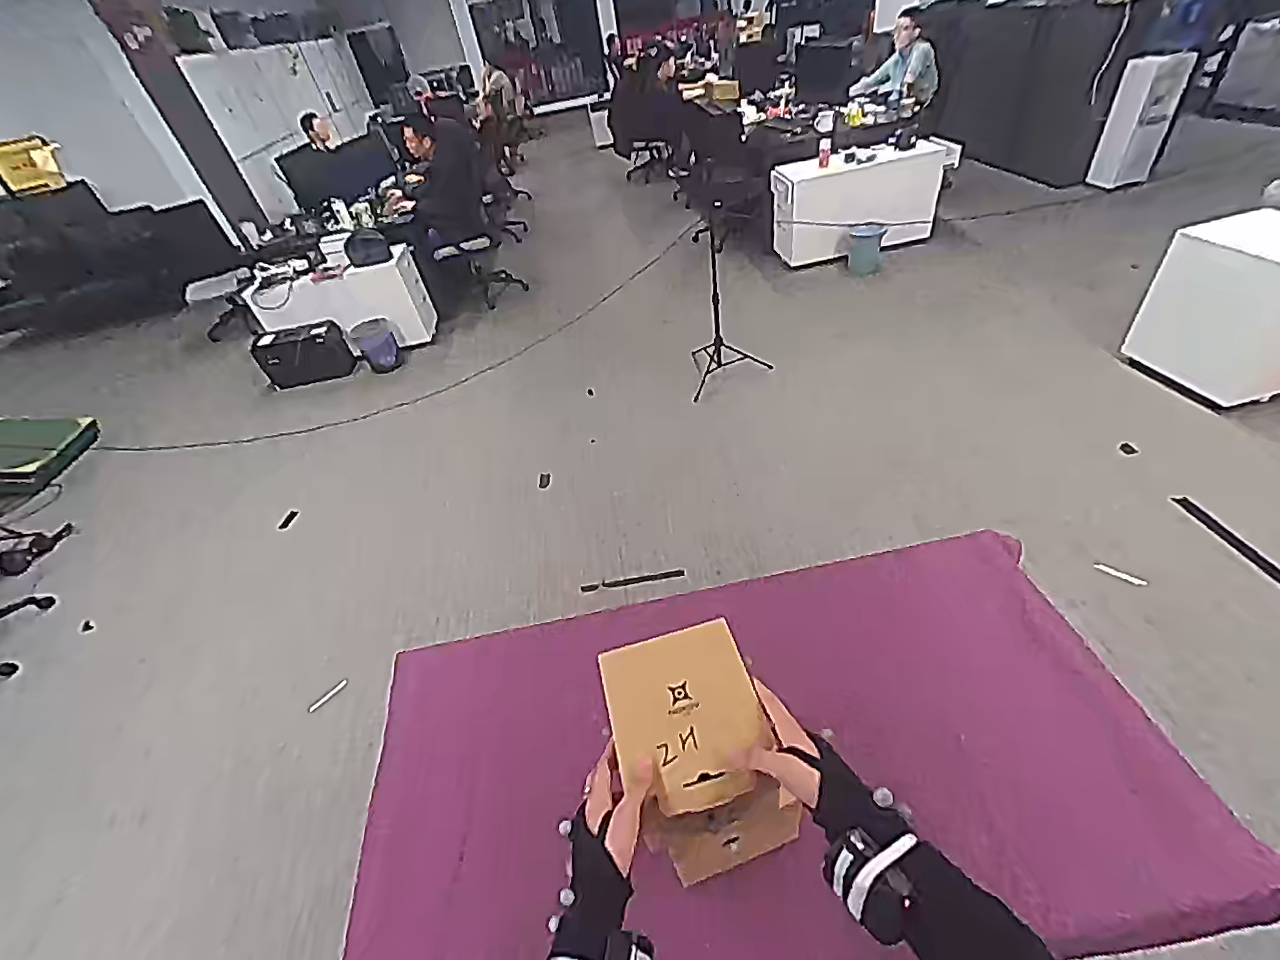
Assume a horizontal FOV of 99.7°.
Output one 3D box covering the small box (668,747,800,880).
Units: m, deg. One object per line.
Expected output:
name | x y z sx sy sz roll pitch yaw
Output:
small box | 0.107 0.423 0.759 0.179 0.176 0.168 -18 42 -8

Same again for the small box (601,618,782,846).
small box | 0.059 0.303 0.654 0.168 0.176 0.179 -16 42 -3
